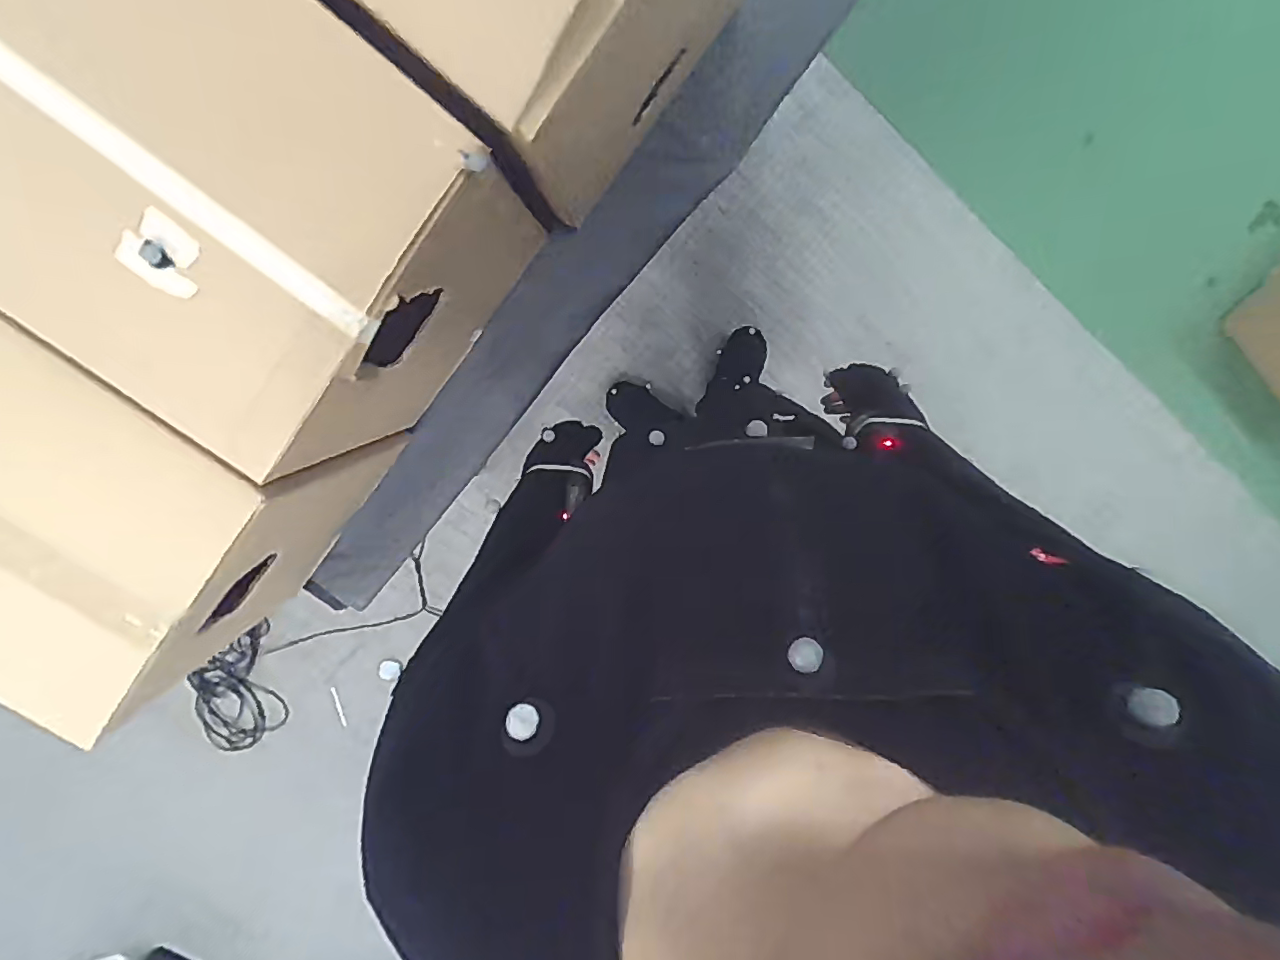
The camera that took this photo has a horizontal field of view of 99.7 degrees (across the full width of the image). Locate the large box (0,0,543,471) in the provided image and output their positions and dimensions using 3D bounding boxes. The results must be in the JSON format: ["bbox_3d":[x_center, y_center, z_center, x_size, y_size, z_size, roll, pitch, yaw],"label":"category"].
[{"bbox_3d":[-0.359,-0.273,0.515,0.408,0.320,0.320,37,102,-10],"label":"large box"}]
